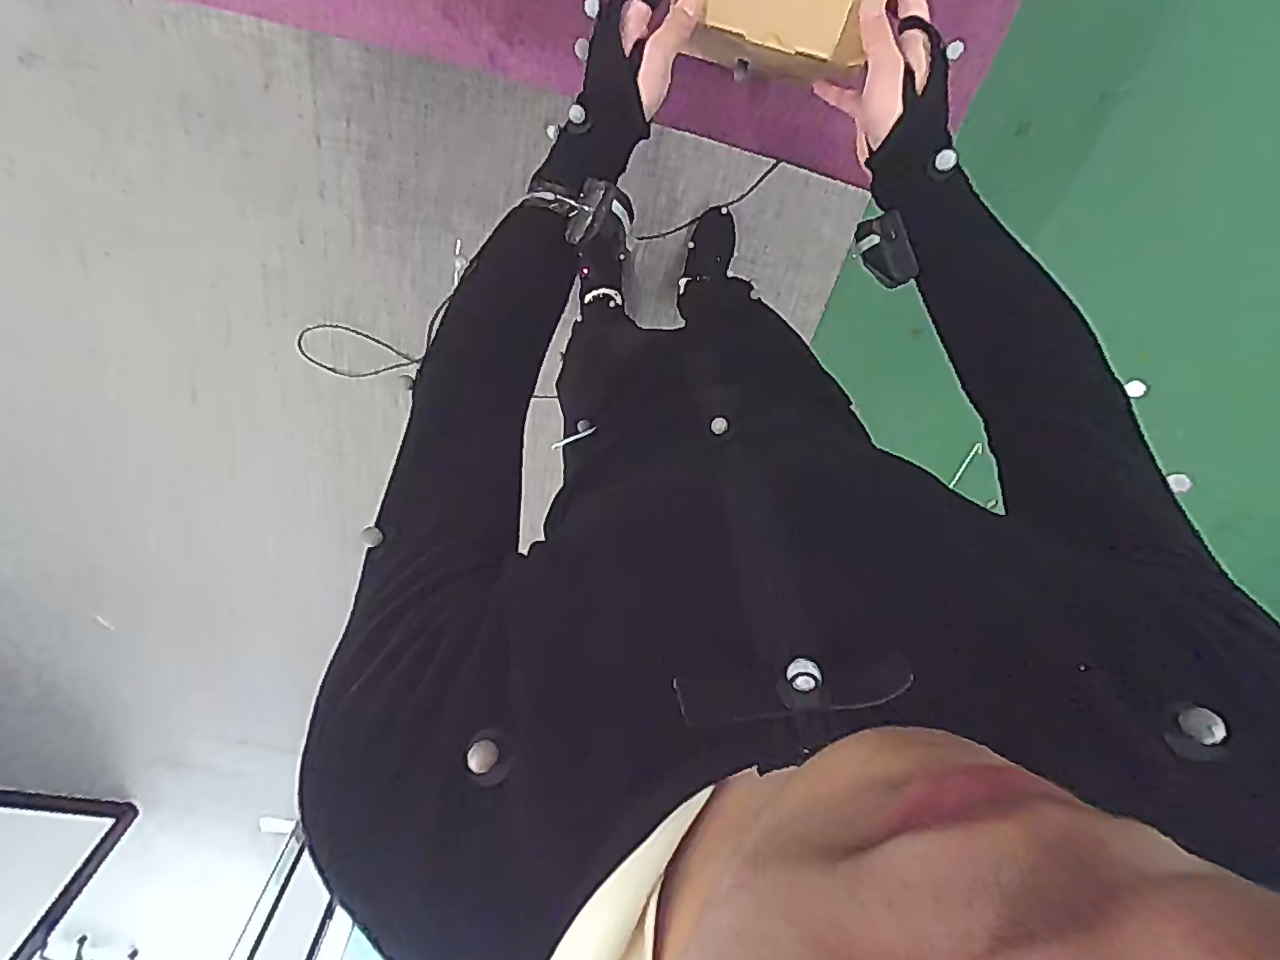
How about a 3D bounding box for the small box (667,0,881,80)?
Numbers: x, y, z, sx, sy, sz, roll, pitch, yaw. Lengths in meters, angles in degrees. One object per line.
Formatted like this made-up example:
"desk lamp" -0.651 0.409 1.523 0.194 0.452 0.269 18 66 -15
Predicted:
"small box" 0.123 -0.480 0.470 0.168 0.176 0.179 11 122 -8
